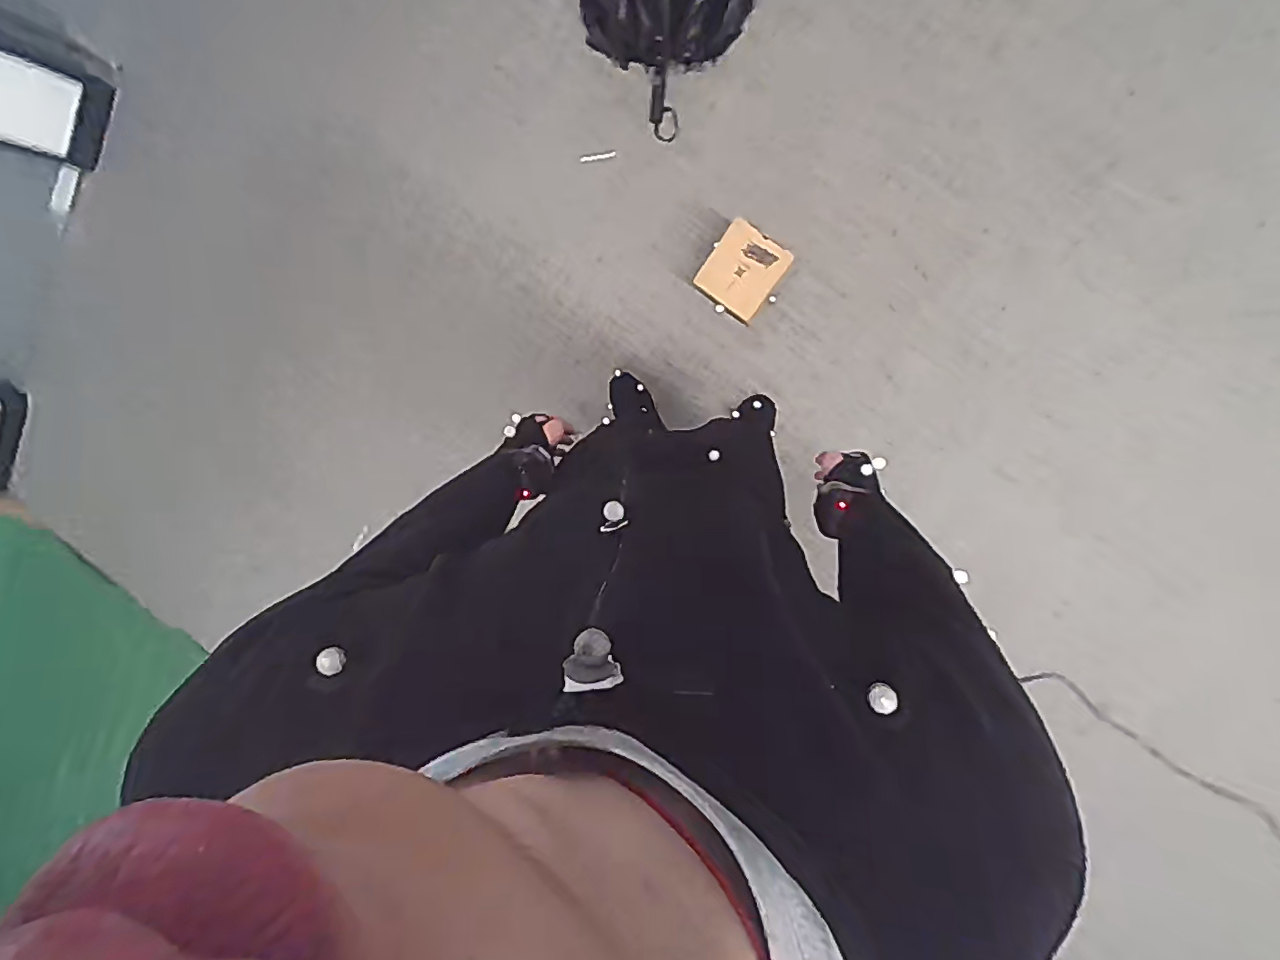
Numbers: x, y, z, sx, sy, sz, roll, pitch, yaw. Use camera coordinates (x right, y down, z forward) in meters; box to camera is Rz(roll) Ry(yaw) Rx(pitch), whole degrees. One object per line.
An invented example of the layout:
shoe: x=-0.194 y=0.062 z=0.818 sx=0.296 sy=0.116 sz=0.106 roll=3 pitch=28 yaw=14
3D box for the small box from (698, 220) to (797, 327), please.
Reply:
small box: x=0.266 y=-0.500 z=1.337 sx=0.168 sy=0.176 sz=0.179 roll=39 pitch=109 yaw=5
